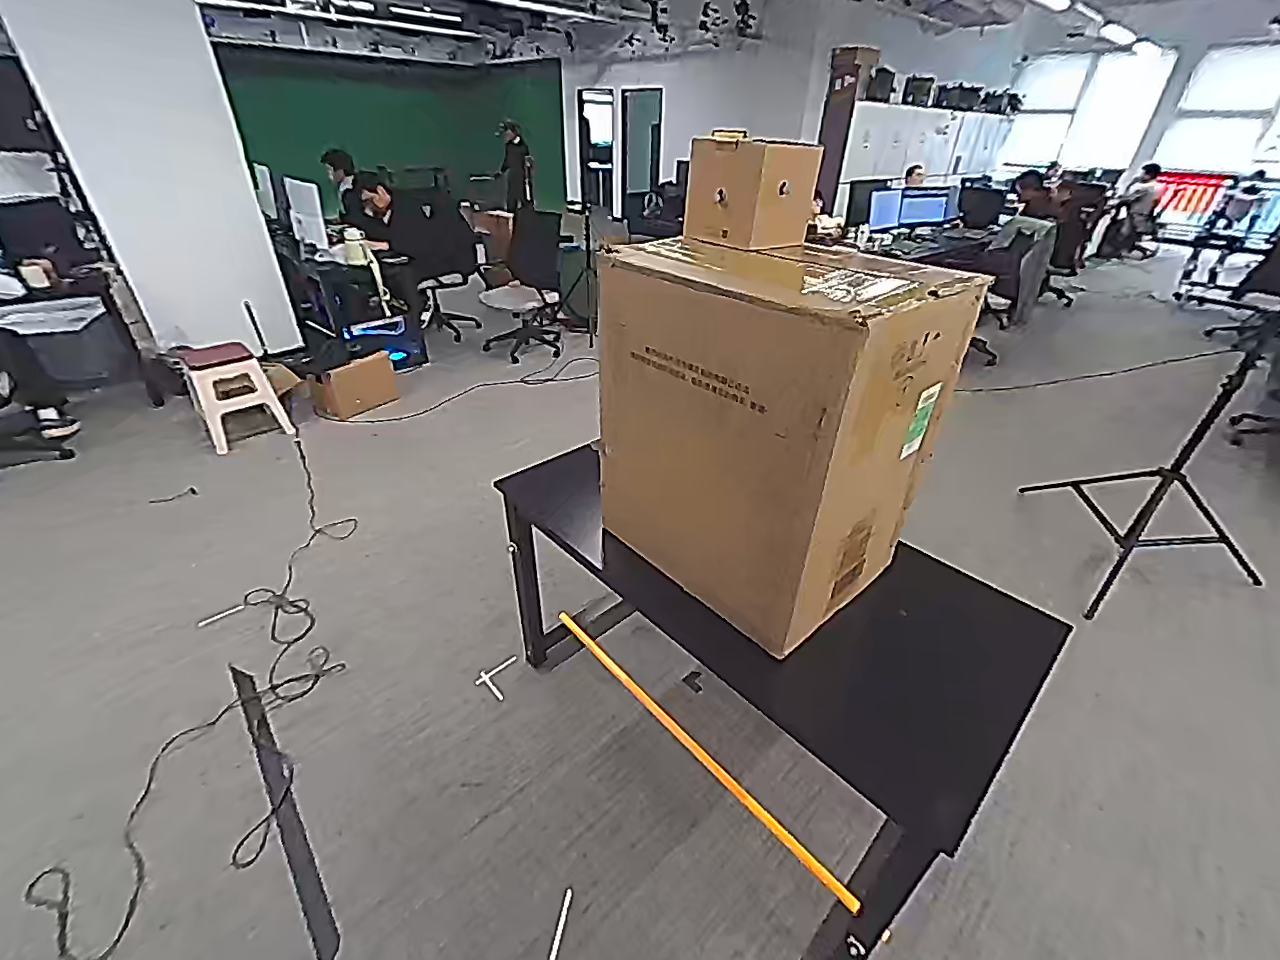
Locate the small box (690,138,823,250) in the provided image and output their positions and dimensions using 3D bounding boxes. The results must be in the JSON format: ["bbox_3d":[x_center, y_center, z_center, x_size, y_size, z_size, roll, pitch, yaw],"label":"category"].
[{"bbox_3d":[0.207,-0.530,1.001,0.179,0.176,0.168,-25,43,-36],"label":"small box"}]
